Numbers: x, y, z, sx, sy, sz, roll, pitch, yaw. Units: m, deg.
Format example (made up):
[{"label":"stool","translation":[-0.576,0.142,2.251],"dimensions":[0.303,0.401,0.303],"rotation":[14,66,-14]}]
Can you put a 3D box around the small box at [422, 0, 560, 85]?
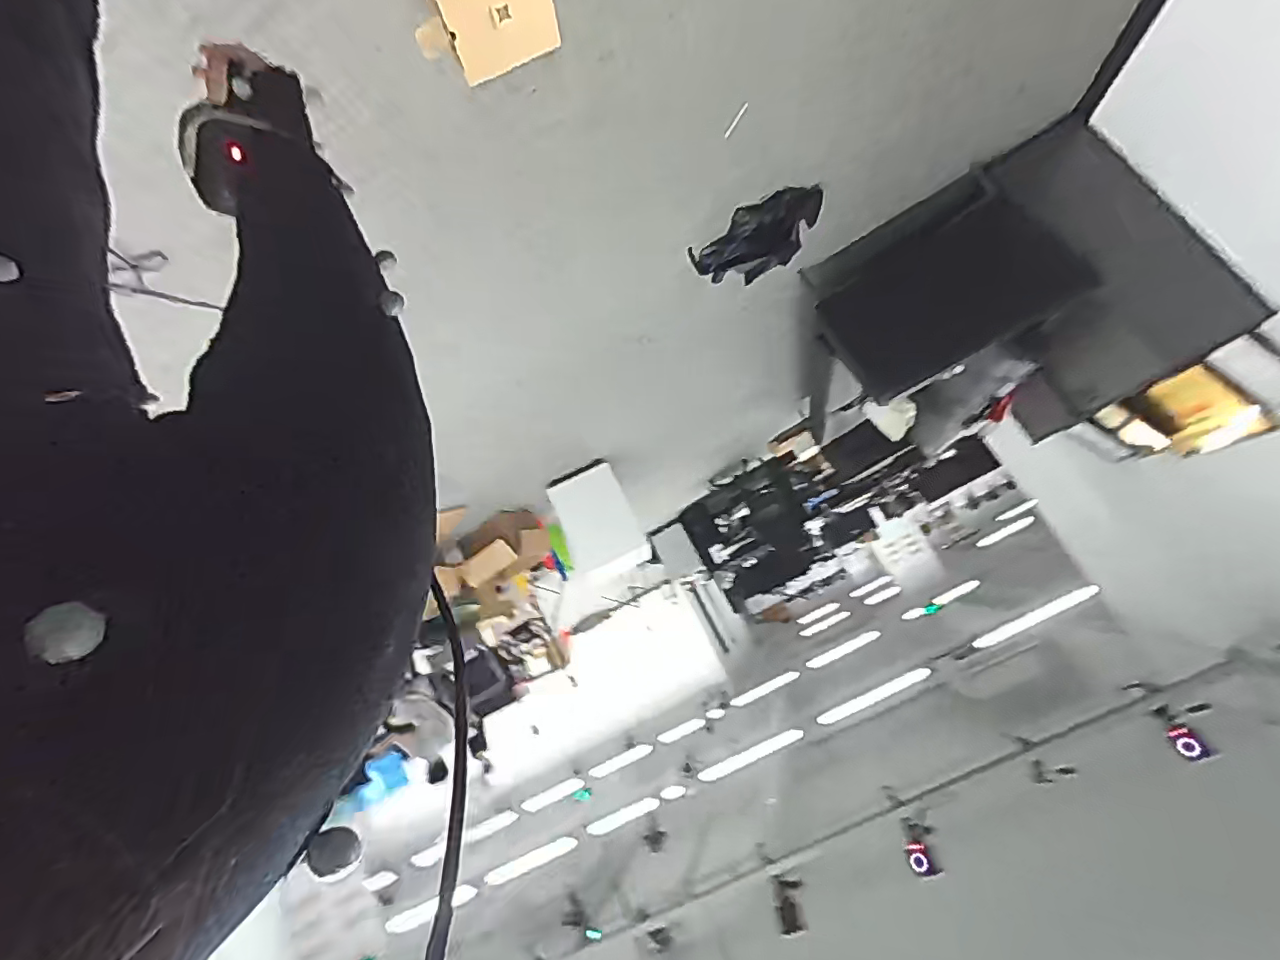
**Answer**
[{"label":"small box","translation":[-0.252,-0.785,0.846],"dimensions":[0.179,0.176,0.168],"rotation":[-28,166,-2]}]
